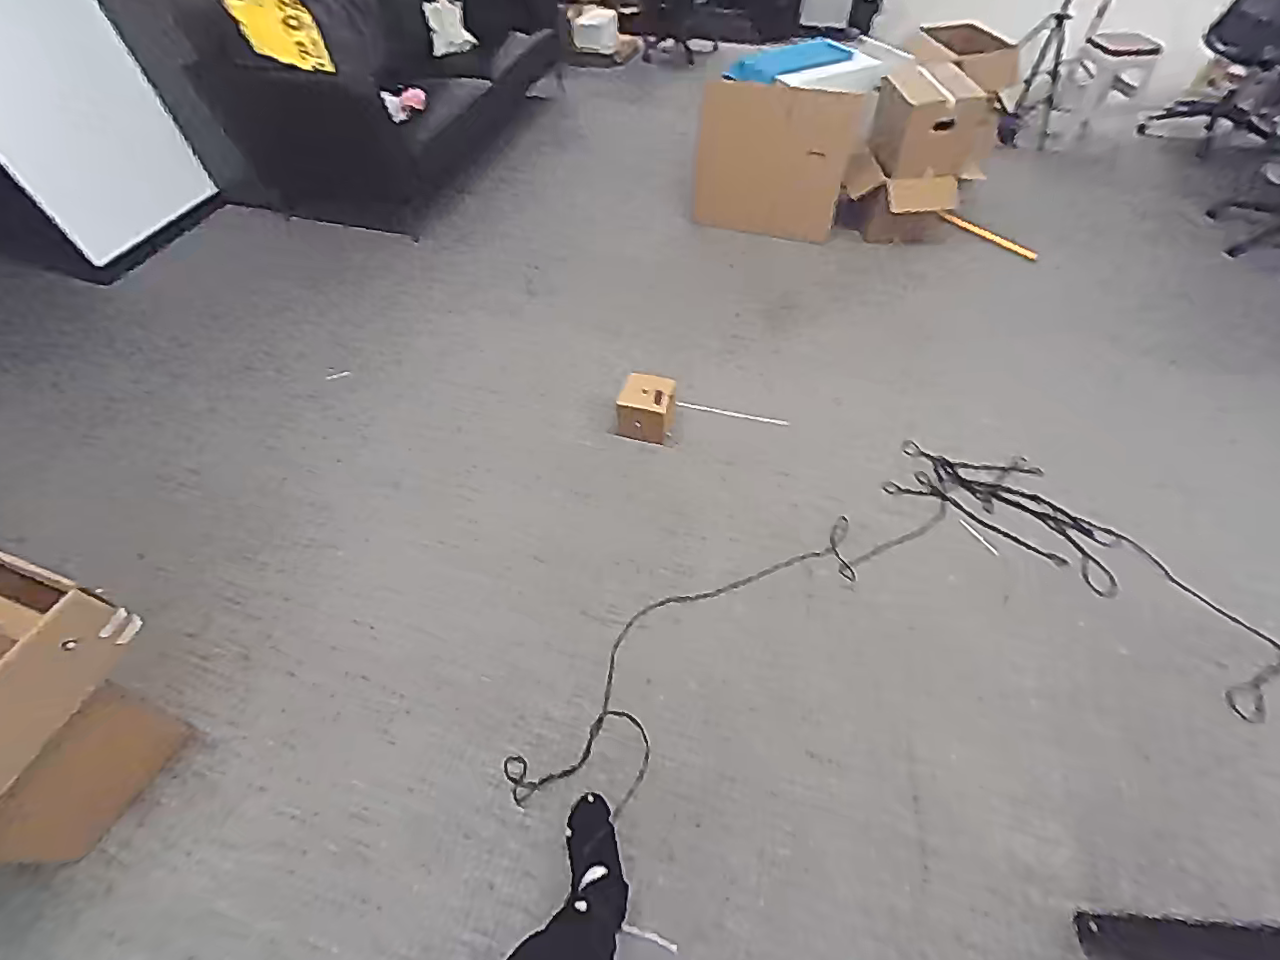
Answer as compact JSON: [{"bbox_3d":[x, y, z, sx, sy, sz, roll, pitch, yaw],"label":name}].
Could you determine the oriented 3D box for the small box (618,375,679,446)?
[{"bbox_3d":[0.033,-0.242,1.920,0.179,0.176,0.168,12,54,12],"label":"small box"}]

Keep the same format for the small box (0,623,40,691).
[{"bbox_3d":[-1.313,0.329,1.002,0.179,0.176,0.168,16,57,14],"label":"small box"}]
